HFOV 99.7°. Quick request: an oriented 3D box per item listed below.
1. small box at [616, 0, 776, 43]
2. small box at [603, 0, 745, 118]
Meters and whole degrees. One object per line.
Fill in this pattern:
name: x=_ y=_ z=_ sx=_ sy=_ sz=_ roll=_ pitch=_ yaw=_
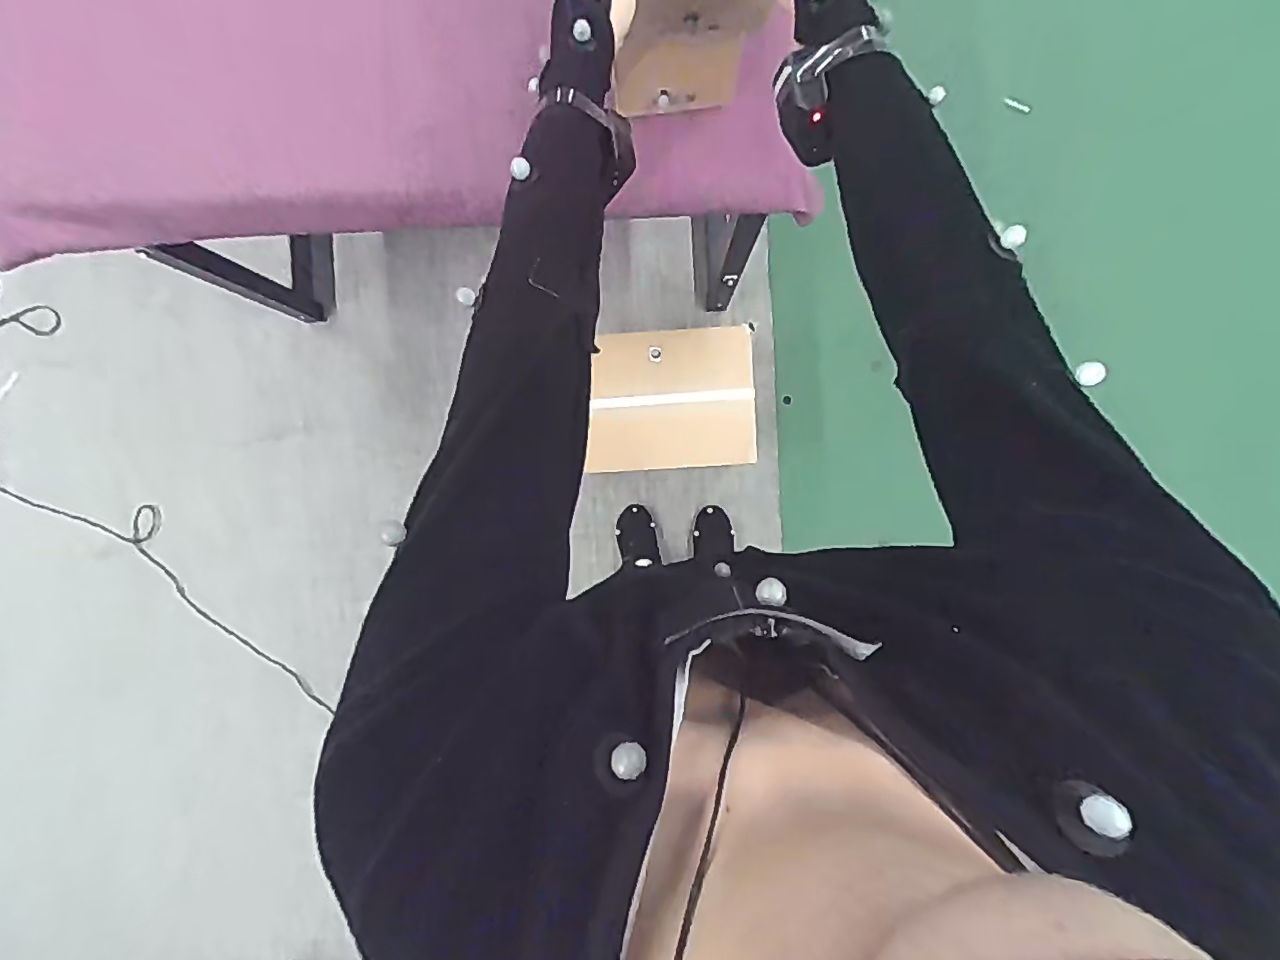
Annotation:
small box: x=0.052 y=-0.552 z=0.503 sx=0.168 sy=0.176 sz=0.179 roll=-4 pitch=110 yaw=2
small box: x=0.038 y=-0.603 z=0.683 sx=0.168 sy=0.176 sz=0.179 roll=-5 pitch=90 yaw=3
